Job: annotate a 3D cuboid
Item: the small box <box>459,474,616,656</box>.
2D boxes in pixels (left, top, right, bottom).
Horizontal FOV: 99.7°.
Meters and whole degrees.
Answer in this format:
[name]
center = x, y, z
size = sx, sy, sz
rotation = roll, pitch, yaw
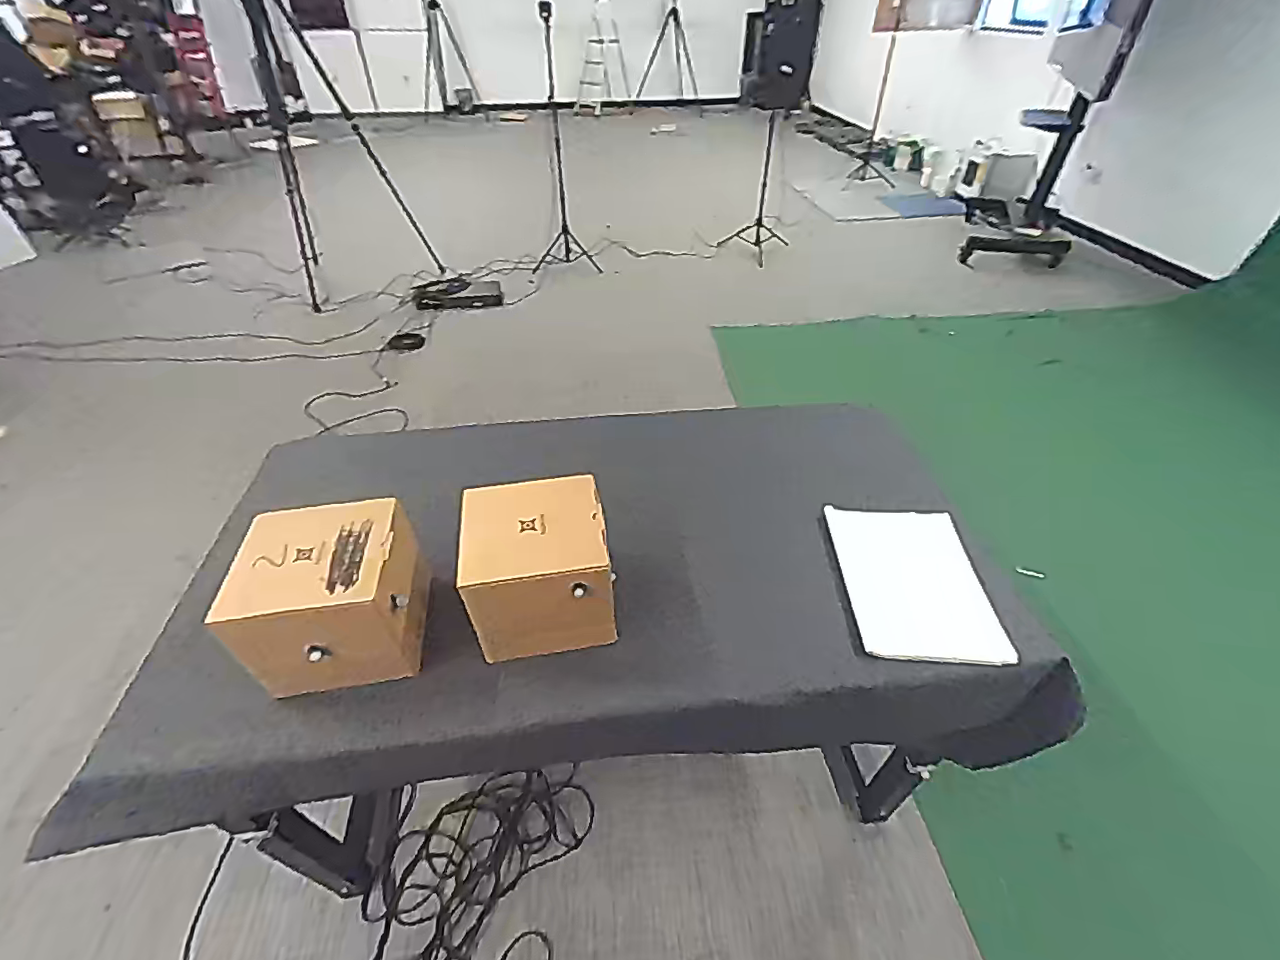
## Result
[small box]
center = -0.132, 0.116, 0.729
size = 0.179, 0.176, 0.168
rotation = -7, 42, -8
